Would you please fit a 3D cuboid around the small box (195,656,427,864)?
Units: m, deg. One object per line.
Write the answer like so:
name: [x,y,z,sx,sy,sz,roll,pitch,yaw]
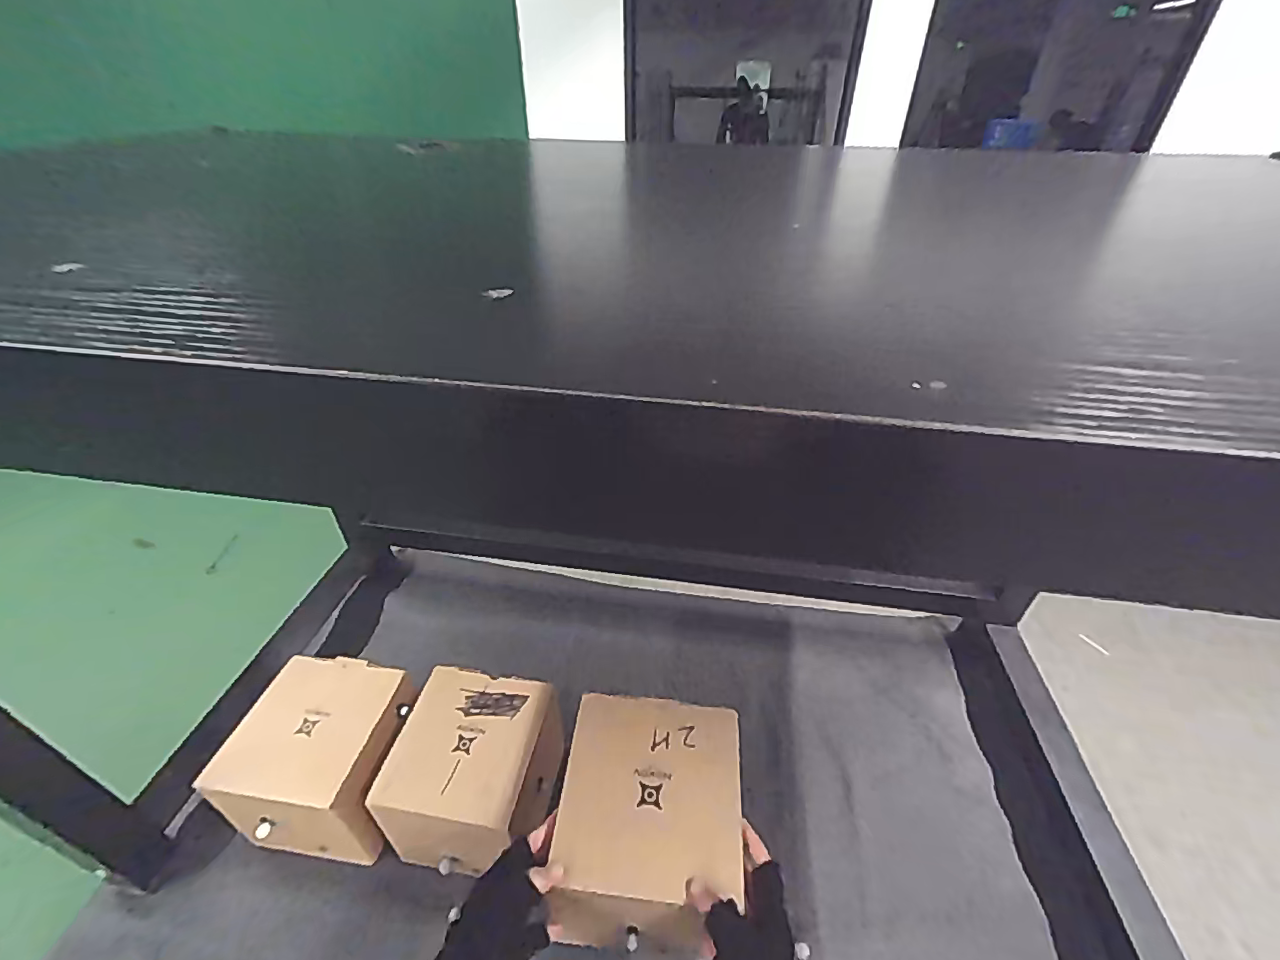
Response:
small box: [-0.398,0.359,0.698,0.168,0.176,0.179,6,36,6]
